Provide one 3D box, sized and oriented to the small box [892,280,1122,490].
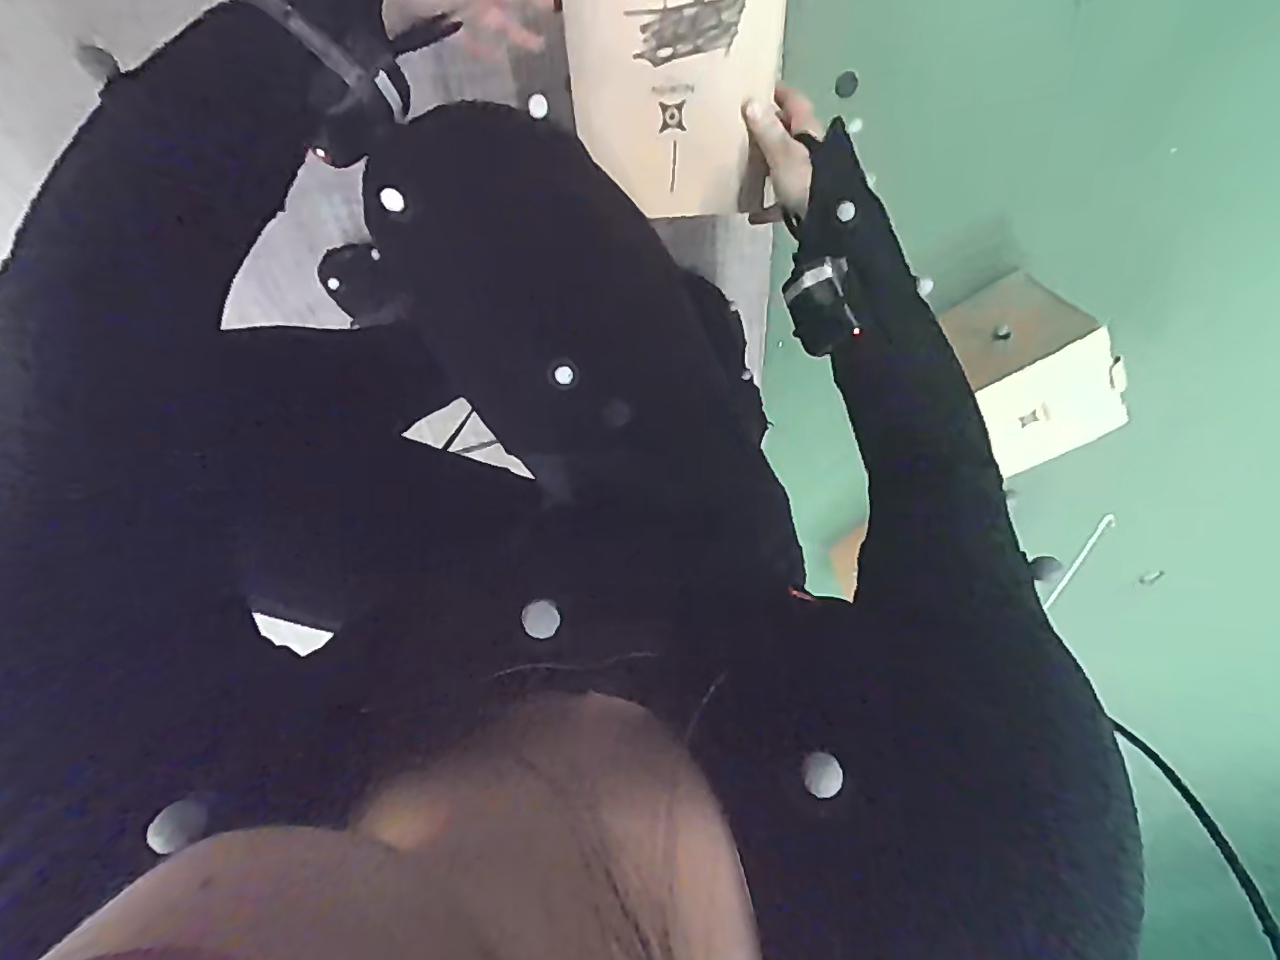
[{"bbox_3d":[0.468,-0.126,0.708,0.179,0.176,0.168,-31,125,23],"label":"small box"}]
